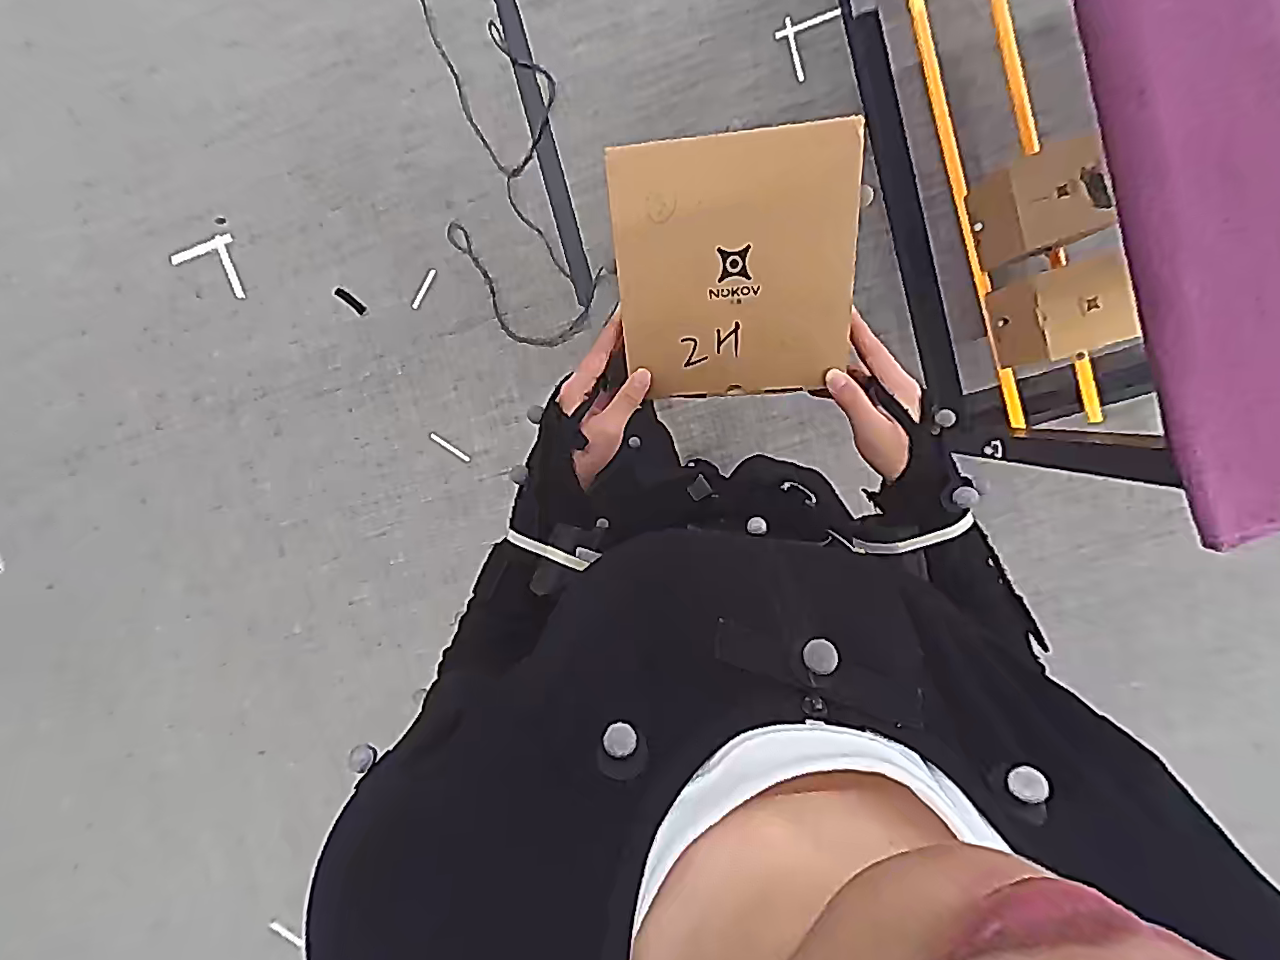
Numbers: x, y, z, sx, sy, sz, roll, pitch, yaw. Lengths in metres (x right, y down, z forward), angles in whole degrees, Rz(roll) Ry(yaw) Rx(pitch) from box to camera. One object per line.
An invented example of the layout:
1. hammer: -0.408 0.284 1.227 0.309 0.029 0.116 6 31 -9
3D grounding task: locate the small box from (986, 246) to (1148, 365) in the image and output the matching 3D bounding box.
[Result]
1. small box: 0.833 -0.334 1.068 0.179 0.176 0.168 -17 95 7

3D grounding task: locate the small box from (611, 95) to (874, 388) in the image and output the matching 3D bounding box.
1. small box: 0.075 -0.185 0.441 0.168 0.176 0.179 -1 117 9

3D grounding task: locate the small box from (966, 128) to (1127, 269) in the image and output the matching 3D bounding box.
1. small box: 0.775 -0.532 1.048 0.179 0.176 0.168 -16 95 8
